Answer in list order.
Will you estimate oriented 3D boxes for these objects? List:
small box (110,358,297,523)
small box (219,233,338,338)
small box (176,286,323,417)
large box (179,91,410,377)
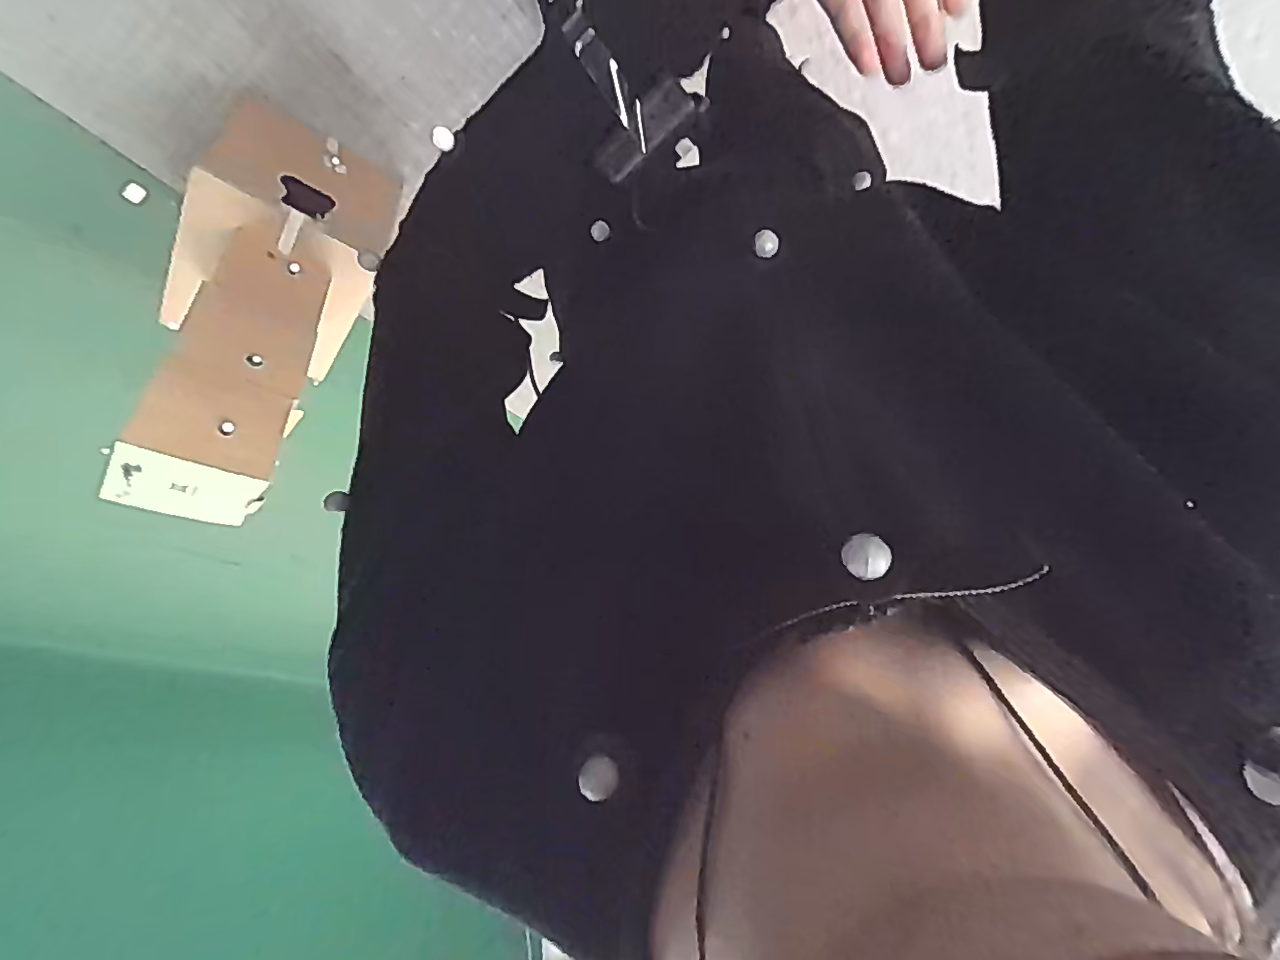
[{"bbox_3d":[-0.664,-0.058,0.838,0.179,0.176,0.168,23,135,-40],"label":"small box"},{"bbox_3d":[-0.700,-0.322,1.029,0.168,0.176,0.179,23,135,-39],"label":"small box"},{"bbox_3d":[-0.678,-0.194,0.929,0.168,0.176,0.179,-33,139,32],"label":"small box"},{"bbox_3d":[-0.743,-0.510,1.183,0.320,0.320,0.408,23,137,-35],"label":"large box"}]
